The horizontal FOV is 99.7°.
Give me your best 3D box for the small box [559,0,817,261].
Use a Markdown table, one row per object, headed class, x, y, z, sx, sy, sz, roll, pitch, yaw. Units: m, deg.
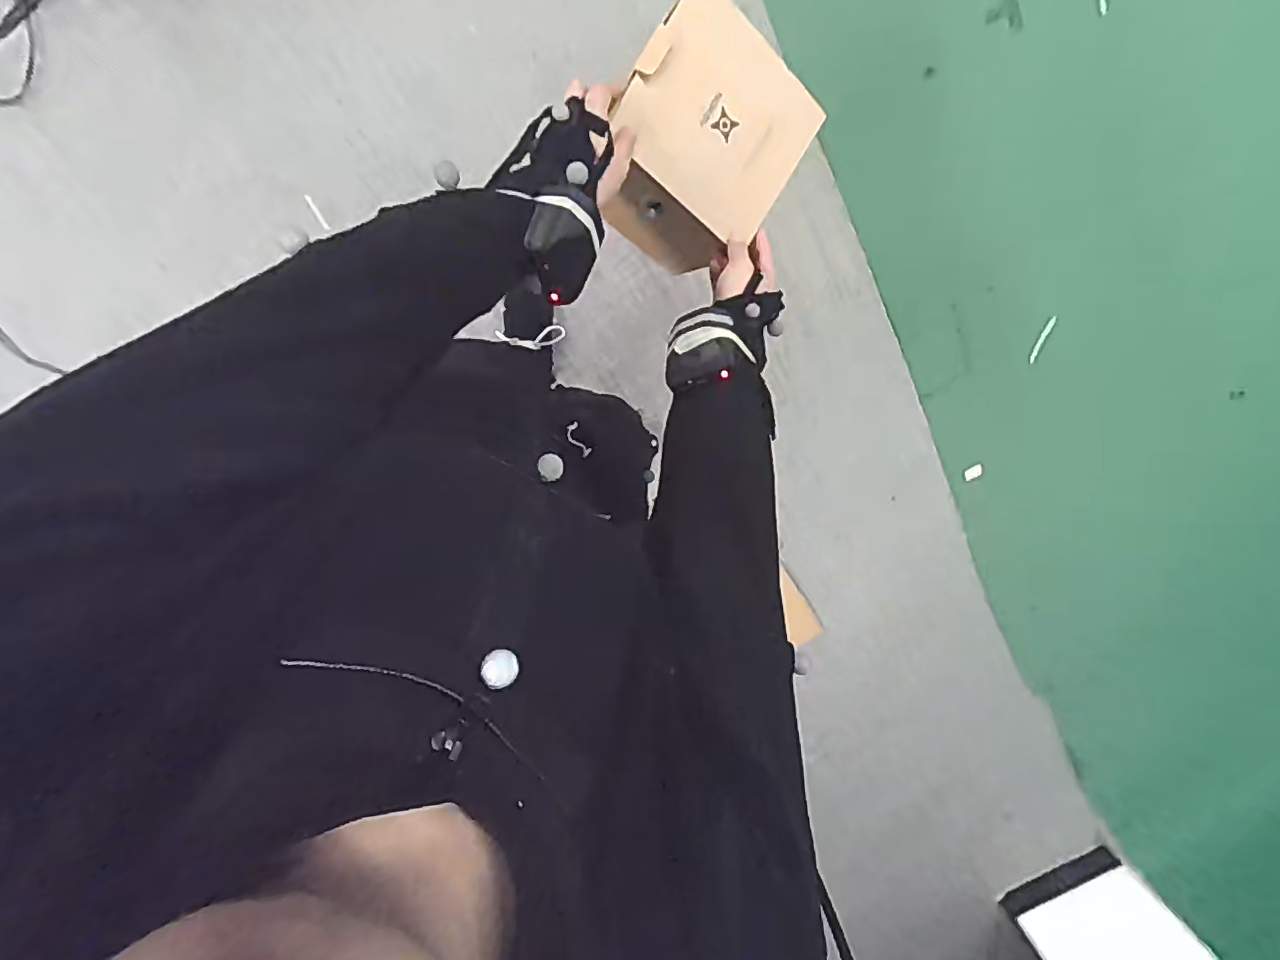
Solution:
| class | x | y | z | sx | sy | sz | roll | pitch | yaw |
| --- | --- | --- | --- | --- | --- | --- | --- | --- | --- |
| small box | 0.038 | -0.353 | 0.566 | 0.179 | 0.176 | 0.168 | 30 | 92 | -26 |
